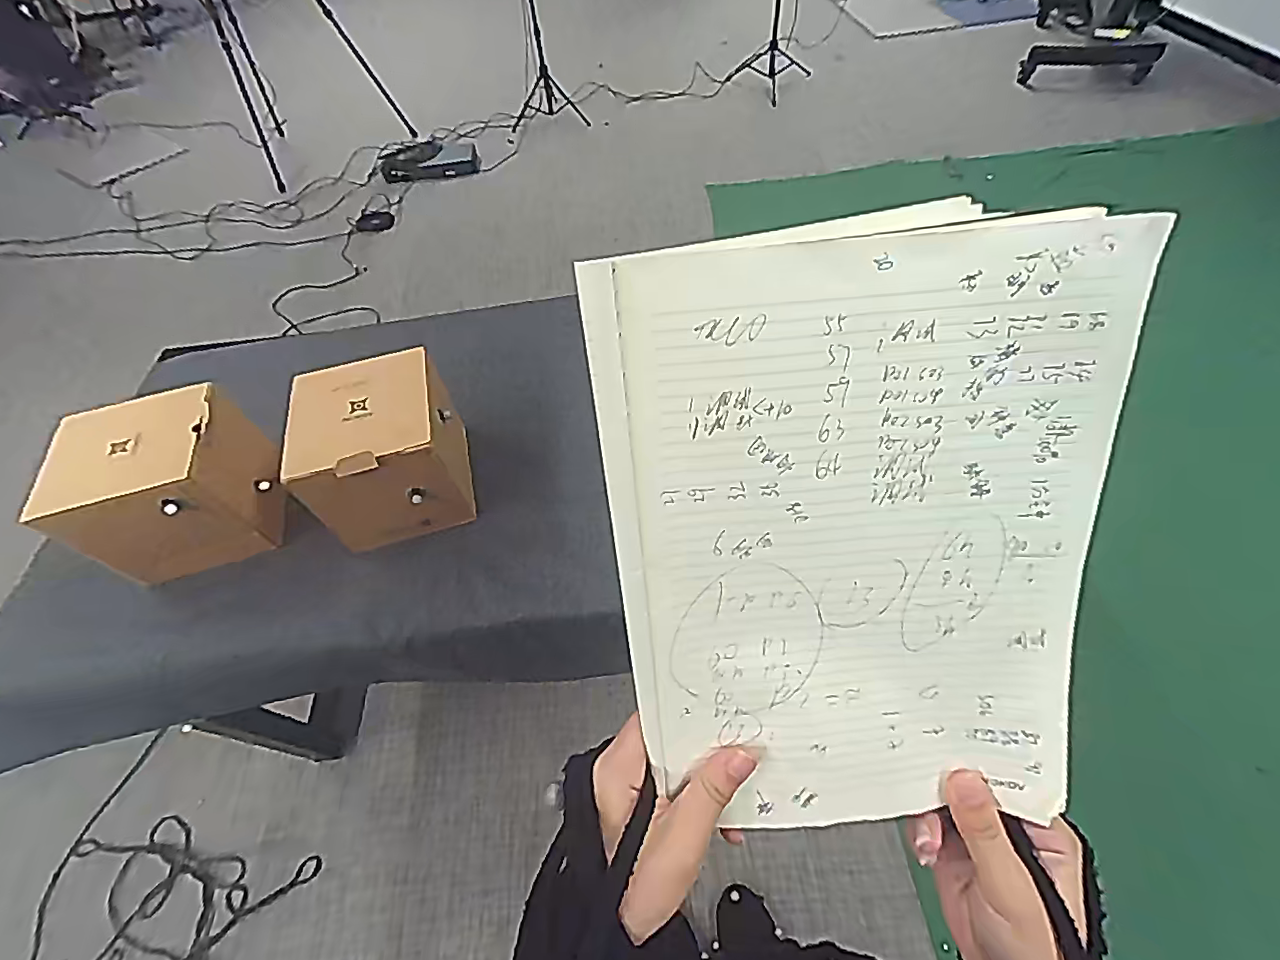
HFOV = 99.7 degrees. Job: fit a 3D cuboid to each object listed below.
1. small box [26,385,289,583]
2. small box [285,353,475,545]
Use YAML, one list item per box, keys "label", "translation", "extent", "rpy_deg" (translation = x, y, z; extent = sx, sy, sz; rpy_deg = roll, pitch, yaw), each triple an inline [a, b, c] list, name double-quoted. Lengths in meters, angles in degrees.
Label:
- label: "small box"
  translation: [-0.594, 0.011, 0.699]
  extent: [0.179, 0.176, 0.168]
  rpy_deg: [-16, 54, -8]
- label: "small box"
  translation: [-0.325, -0.032, 0.707]
  extent: [0.168, 0.176, 0.179]
  rpy_deg: [-15, 53, -7]
